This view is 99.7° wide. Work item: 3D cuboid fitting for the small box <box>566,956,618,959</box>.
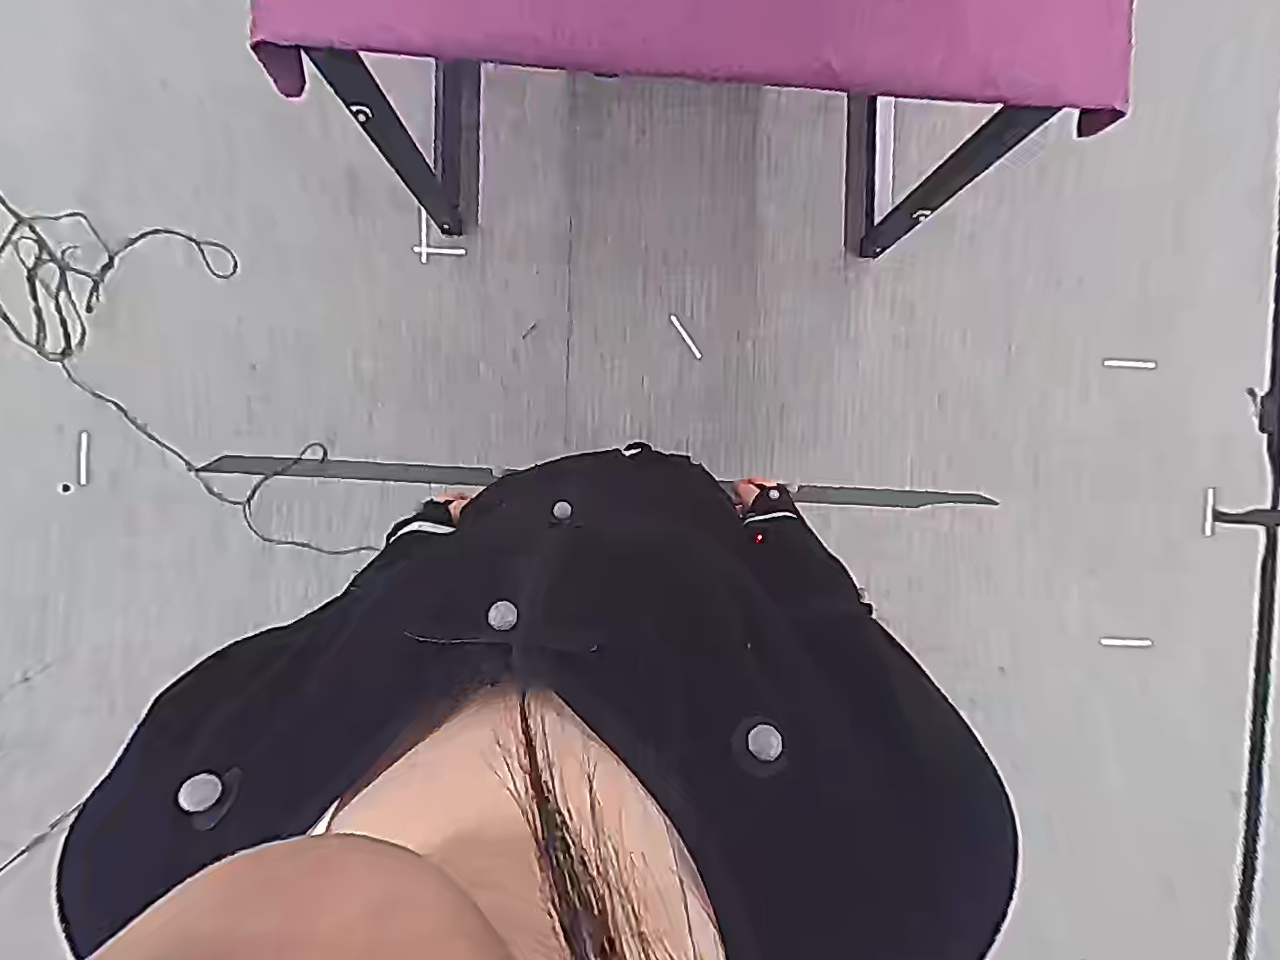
[{"bbox_3d":[-0.127,1.427,1.449,0.168,0.176,0.179,-2,92,-2],"label":"small box"}]
